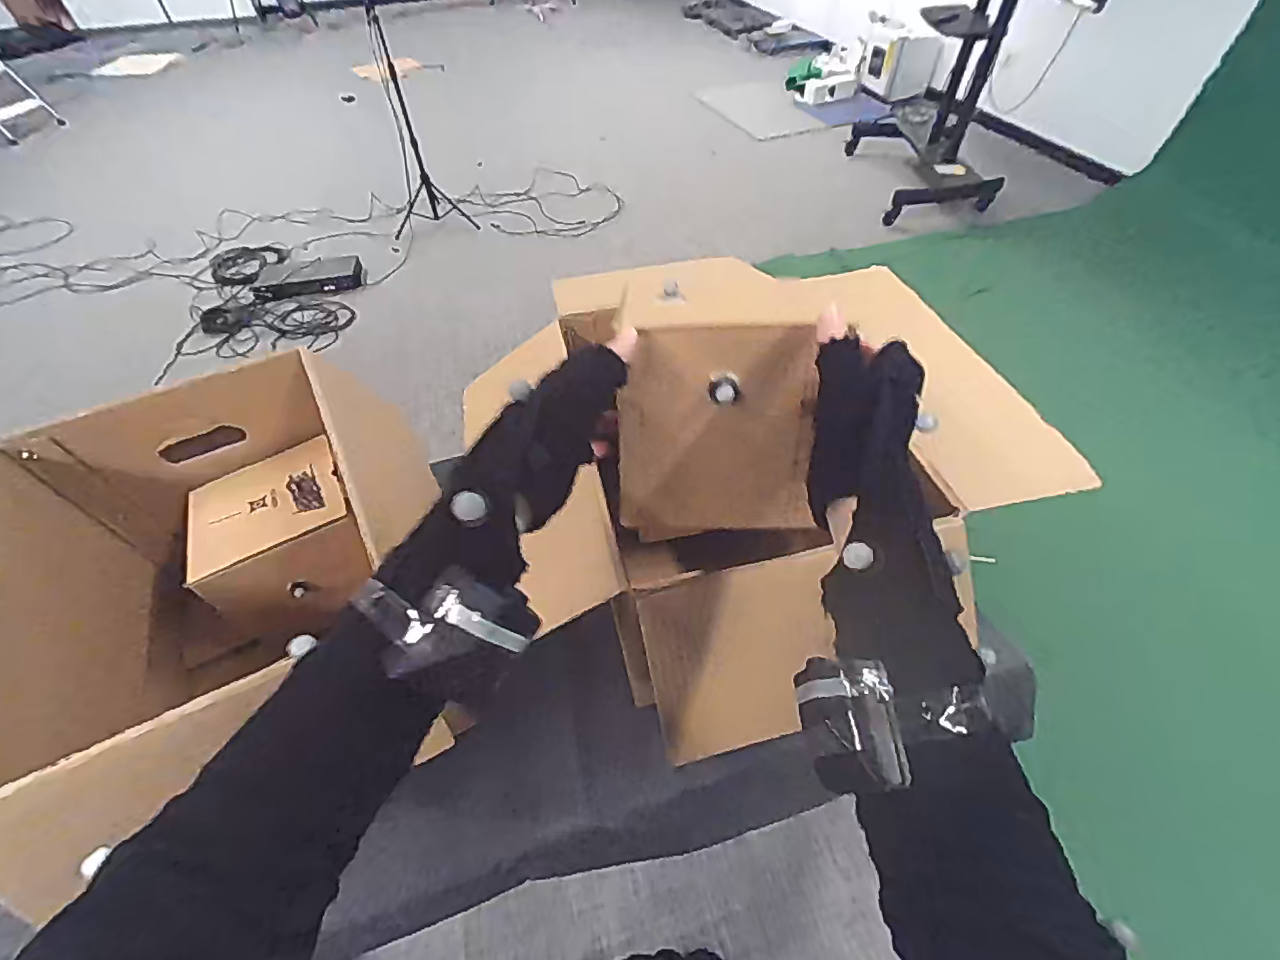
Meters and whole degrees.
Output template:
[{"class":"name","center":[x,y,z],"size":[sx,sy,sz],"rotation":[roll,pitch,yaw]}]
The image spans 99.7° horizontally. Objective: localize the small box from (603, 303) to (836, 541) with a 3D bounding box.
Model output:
[{"class":"small box","center":[0.063,-0.060,0.483],"size":[0.176,0.168,0.179],"rotation":[2,28,3]}]
